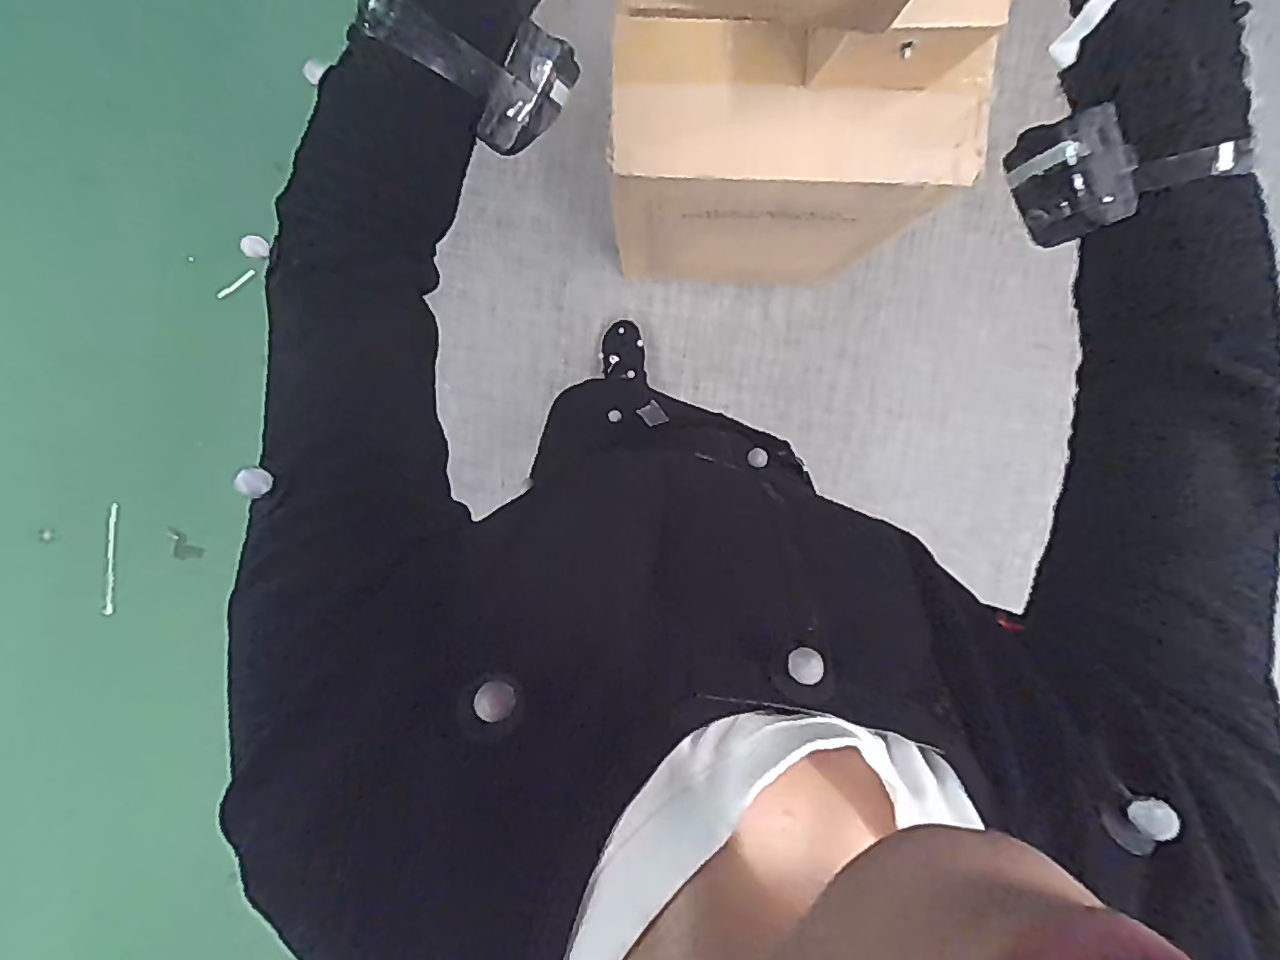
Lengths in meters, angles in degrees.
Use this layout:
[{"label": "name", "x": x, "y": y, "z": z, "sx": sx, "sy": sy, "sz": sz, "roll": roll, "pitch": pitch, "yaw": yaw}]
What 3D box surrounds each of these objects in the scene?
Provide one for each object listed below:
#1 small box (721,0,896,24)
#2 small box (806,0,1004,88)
[{"label": "small box", "x": 0.116, "y": -0.418, "z": 0.315, "sx": 0.179, "sy": 0.176, "sz": 0.168, "roll": 5, "pitch": 95, "yaw": -6}, {"label": "small box", "x": 0.313, "y": -0.602, "z": 0.656, "sx": 0.179, "sy": 0.176, "sz": 0.168, "roll": -2, "pitch": 107, "yaw": -1}]
